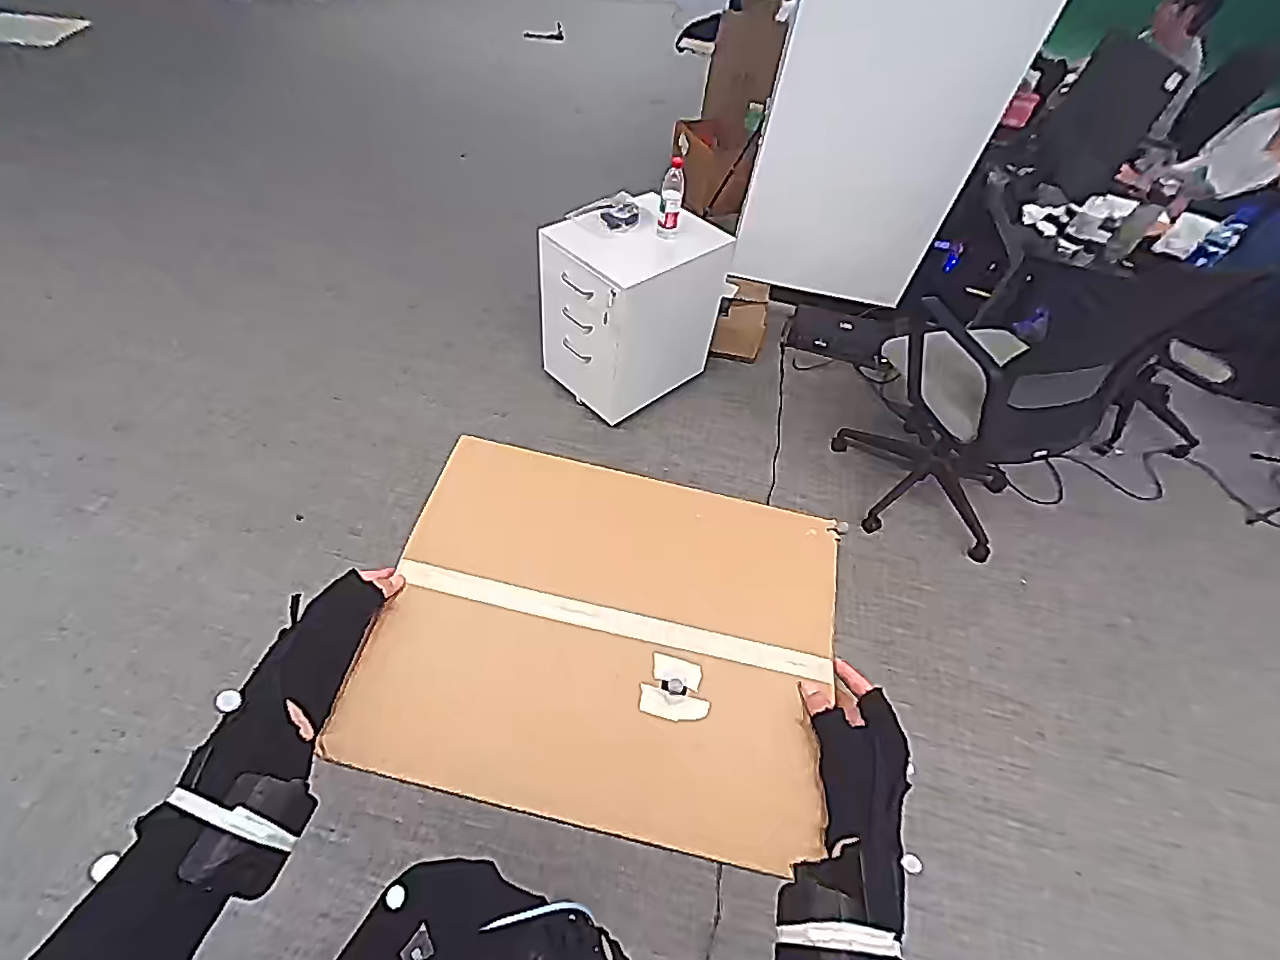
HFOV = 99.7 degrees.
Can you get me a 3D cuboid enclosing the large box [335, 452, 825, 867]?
[{"bbox_3d":[-0.041,0.212,0.634,0.408,0.320,0.320,13,60,2],"label":"large box"}]
